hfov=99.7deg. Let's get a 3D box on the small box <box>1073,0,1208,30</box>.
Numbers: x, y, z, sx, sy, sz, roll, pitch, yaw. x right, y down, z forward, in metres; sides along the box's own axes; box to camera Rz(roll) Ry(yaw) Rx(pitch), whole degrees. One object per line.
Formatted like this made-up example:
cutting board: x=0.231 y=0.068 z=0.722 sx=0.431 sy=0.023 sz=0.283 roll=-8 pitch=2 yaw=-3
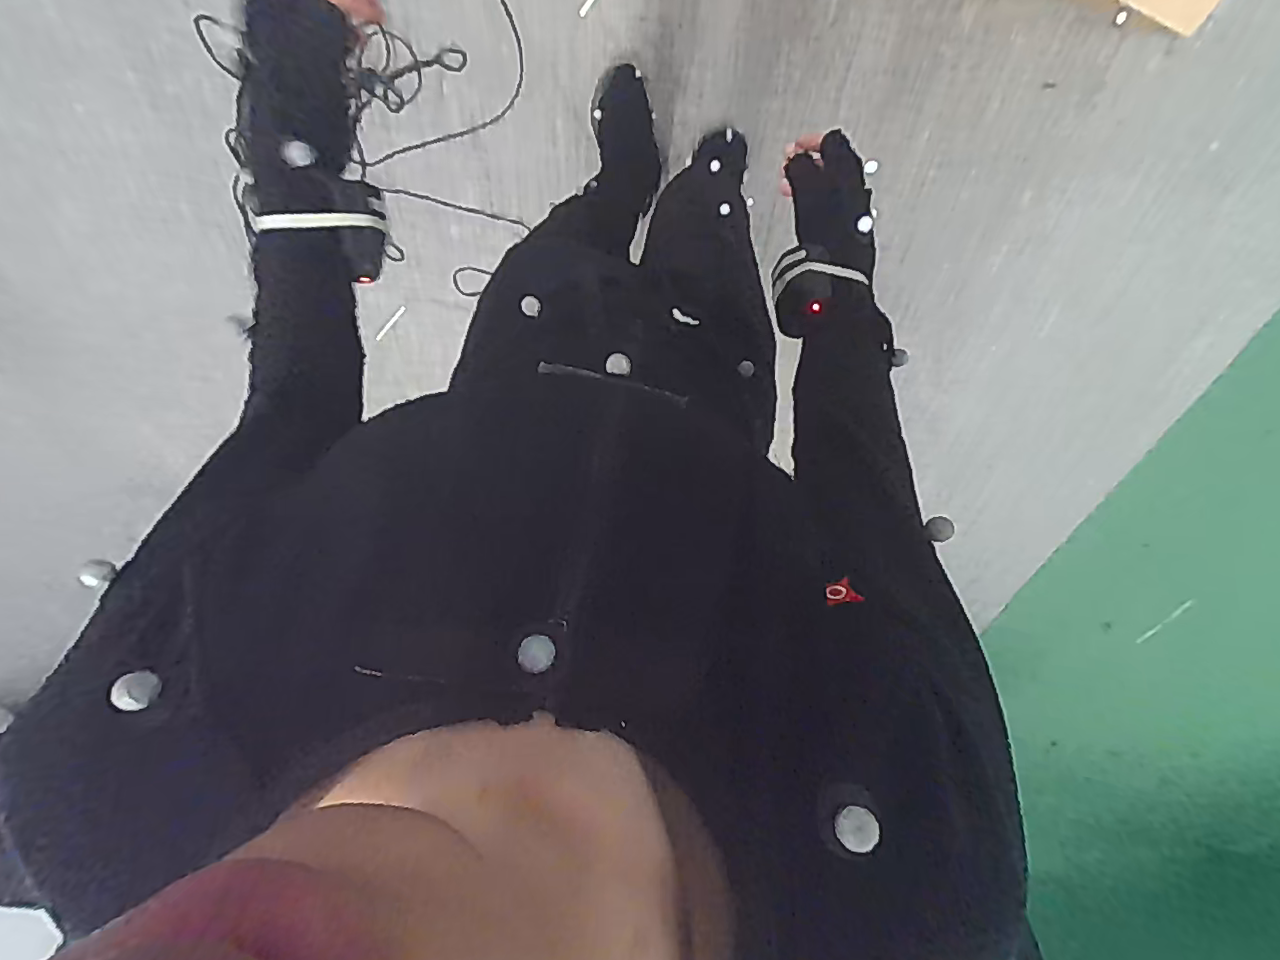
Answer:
small box: x=0.820 y=-0.852 z=0.859 sx=0.179 sy=0.176 sz=0.168 roll=15 pitch=132 yaw=-12
